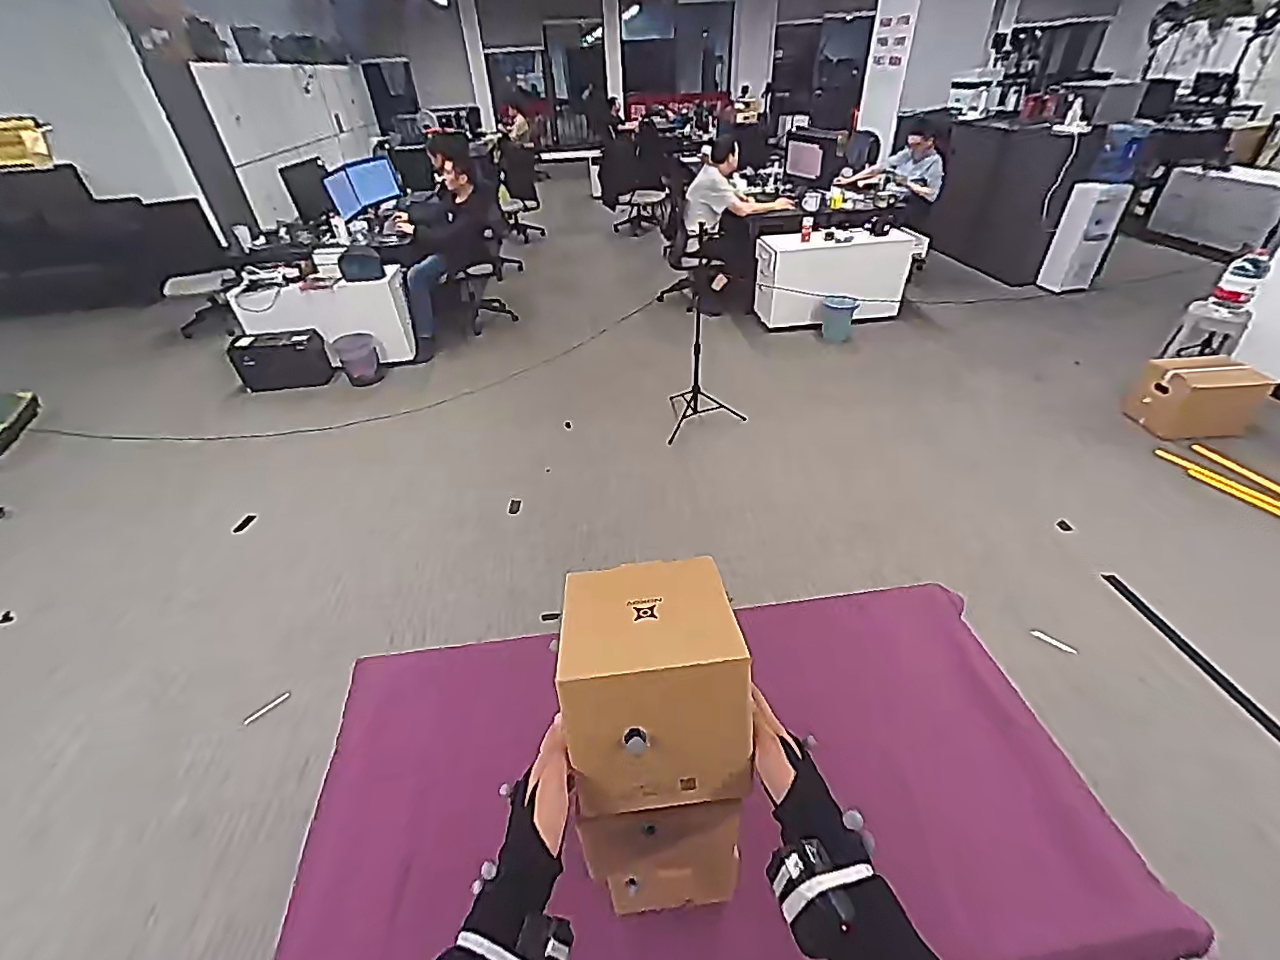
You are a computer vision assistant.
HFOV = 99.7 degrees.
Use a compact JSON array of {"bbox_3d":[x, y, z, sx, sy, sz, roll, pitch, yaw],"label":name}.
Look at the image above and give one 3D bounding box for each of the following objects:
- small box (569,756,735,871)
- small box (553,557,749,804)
[{"bbox_3d":[0.013,0.354,0.665,0.179,0.176,0.168,-4,37,-2],"label":"small box"},{"bbox_3d":[0.012,0.202,0.557,0.168,0.176,0.179,-6,20,-1],"label":"small box"}]
